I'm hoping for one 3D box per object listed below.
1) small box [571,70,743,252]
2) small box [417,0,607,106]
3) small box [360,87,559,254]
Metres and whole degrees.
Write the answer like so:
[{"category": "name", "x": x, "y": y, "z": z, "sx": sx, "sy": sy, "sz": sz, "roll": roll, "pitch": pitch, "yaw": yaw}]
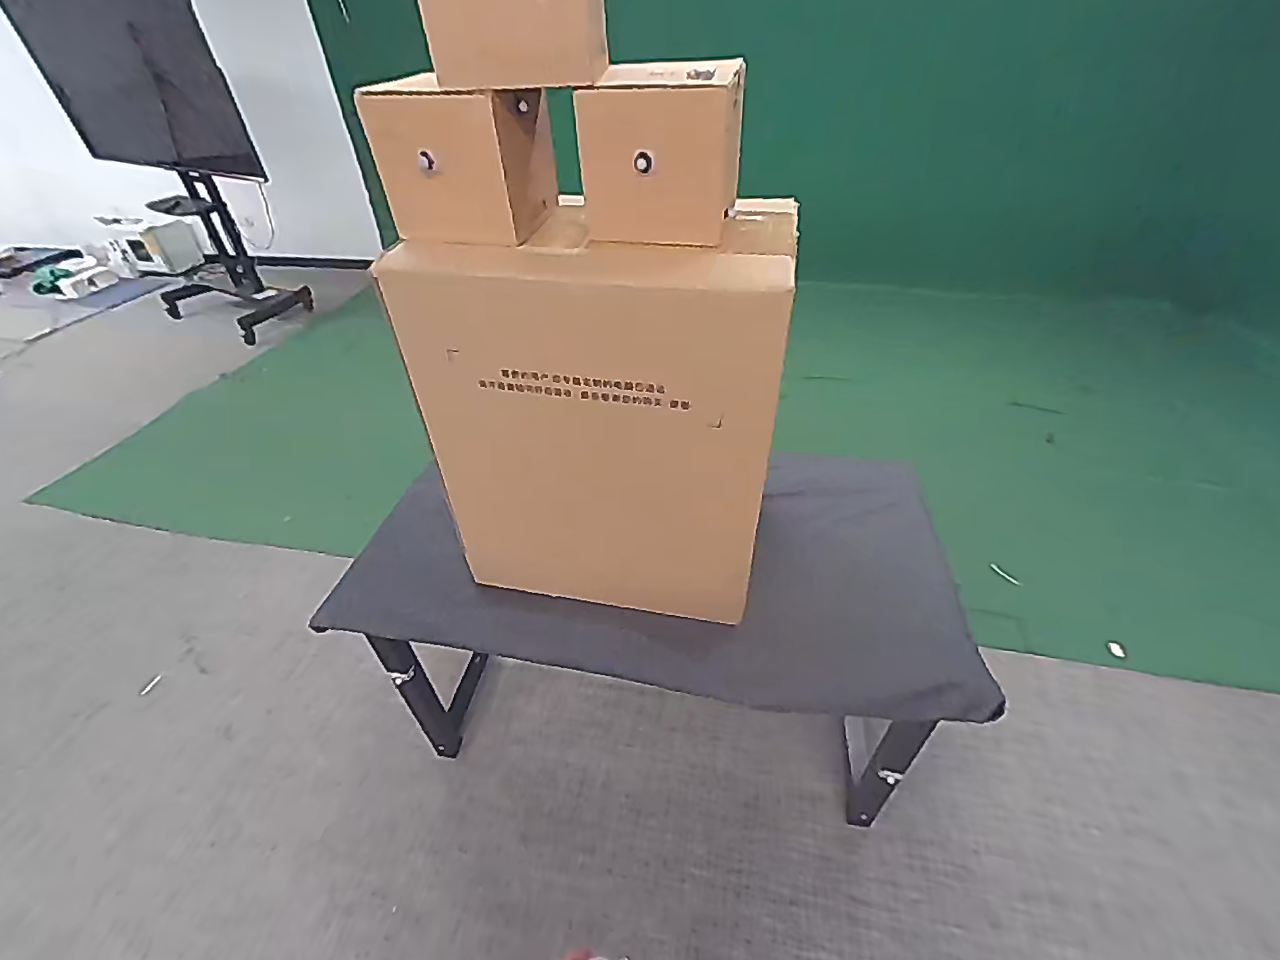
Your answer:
[{"category": "small box", "x": 0.031, "y": -0.405, "z": 0.692, "sx": 0.179, "sy": 0.176, "sz": 0.168, "roll": 7, "pitch": 45, "yaw": 13}, {"category": "small box", "x": -0.135, "y": -0.530, "z": 0.602, "sx": 0.179, "sy": 0.176, "sz": 0.168, "roll": -1, "pitch": 42, "yaw": 5}, {"category": "small box", "x": -0.225, "y": -0.417, "z": 0.726, "sx": 0.179, "sy": 0.176, "sz": 0.168, "roll": 8, "pitch": 45, "yaw": 12}]
